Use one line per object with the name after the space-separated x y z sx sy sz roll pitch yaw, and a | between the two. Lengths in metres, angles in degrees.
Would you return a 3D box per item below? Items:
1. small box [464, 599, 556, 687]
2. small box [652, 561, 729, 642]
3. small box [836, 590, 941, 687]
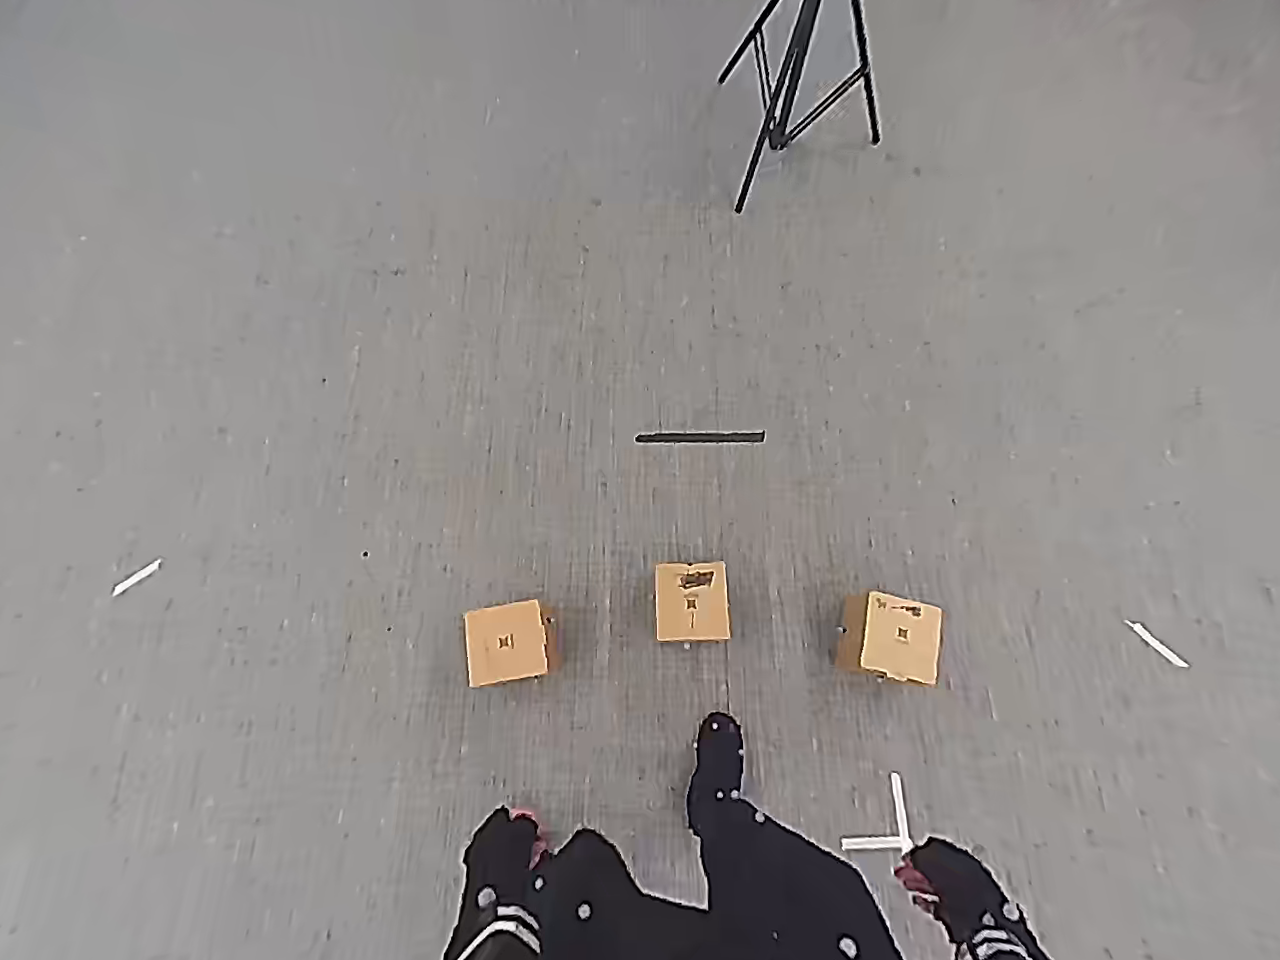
-0.299 0.384 1.275 0.179 0.176 0.168 -11 70 -2 | small box
0.115 0.296 1.300 0.168 0.176 0.179 -1 72 0 | small box
0.577 0.374 1.275 0.168 0.176 0.179 14 73 5 | small box
